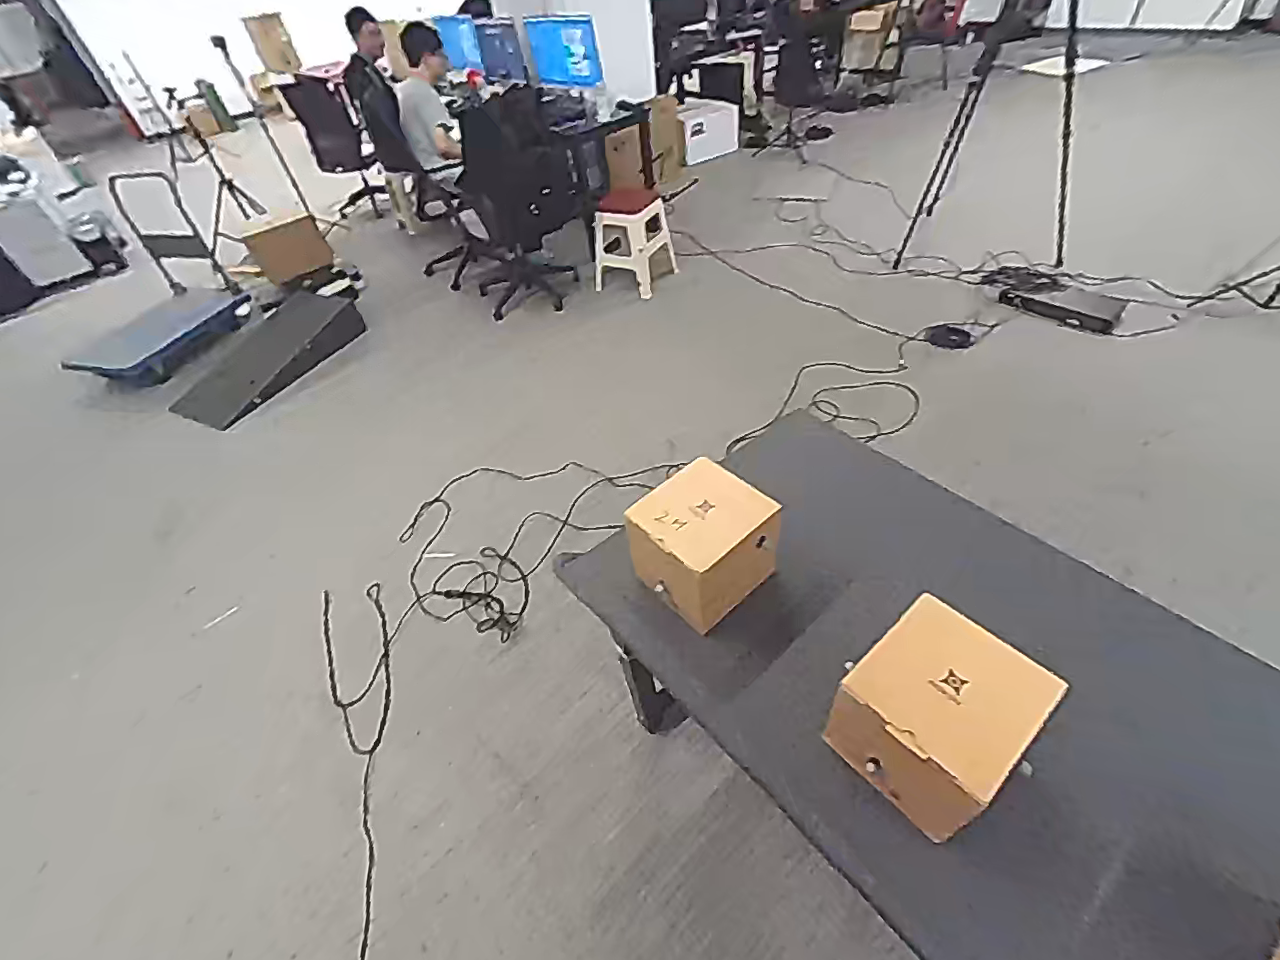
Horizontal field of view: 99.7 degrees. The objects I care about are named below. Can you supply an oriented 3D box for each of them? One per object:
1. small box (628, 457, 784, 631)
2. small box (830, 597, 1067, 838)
[{"bbox_3d":[0.103,0.100,0.862,0.179,0.176,0.168,-34,51,-24],"label":"small box"},{"bbox_3d":[0.352,0.284,0.651,0.179,0.176,0.168,-34,51,-23],"label":"small box"}]
